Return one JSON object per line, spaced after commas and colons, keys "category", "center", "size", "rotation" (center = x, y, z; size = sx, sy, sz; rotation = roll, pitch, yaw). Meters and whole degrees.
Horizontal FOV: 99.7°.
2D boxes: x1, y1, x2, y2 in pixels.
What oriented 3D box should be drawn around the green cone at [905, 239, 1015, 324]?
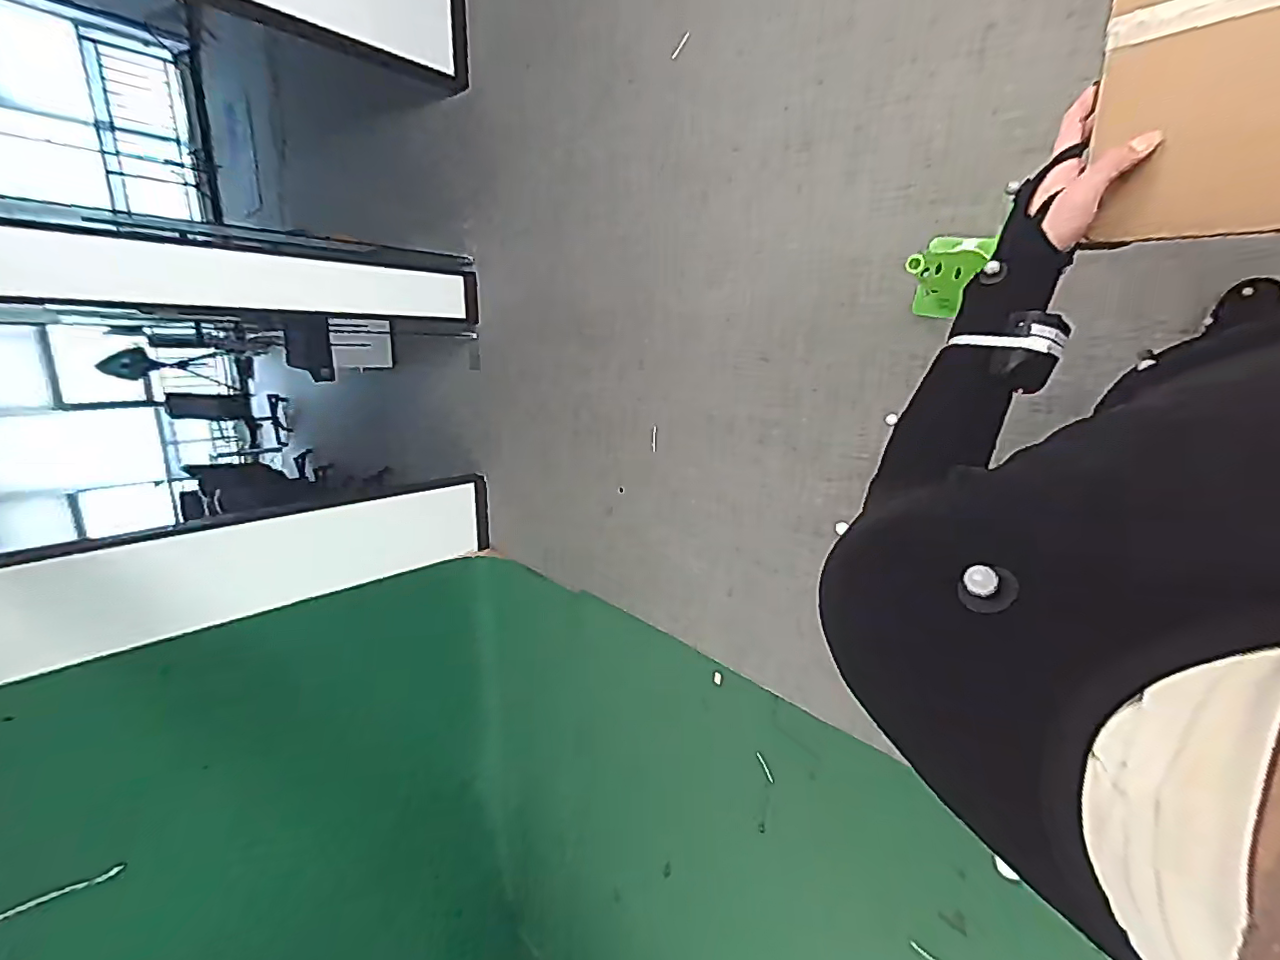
{"category": "green cone", "center": [0.723, -0.490, 1.301], "size": [0.200, 0.368, 0.202], "rotation": [23, 116, 41]}
